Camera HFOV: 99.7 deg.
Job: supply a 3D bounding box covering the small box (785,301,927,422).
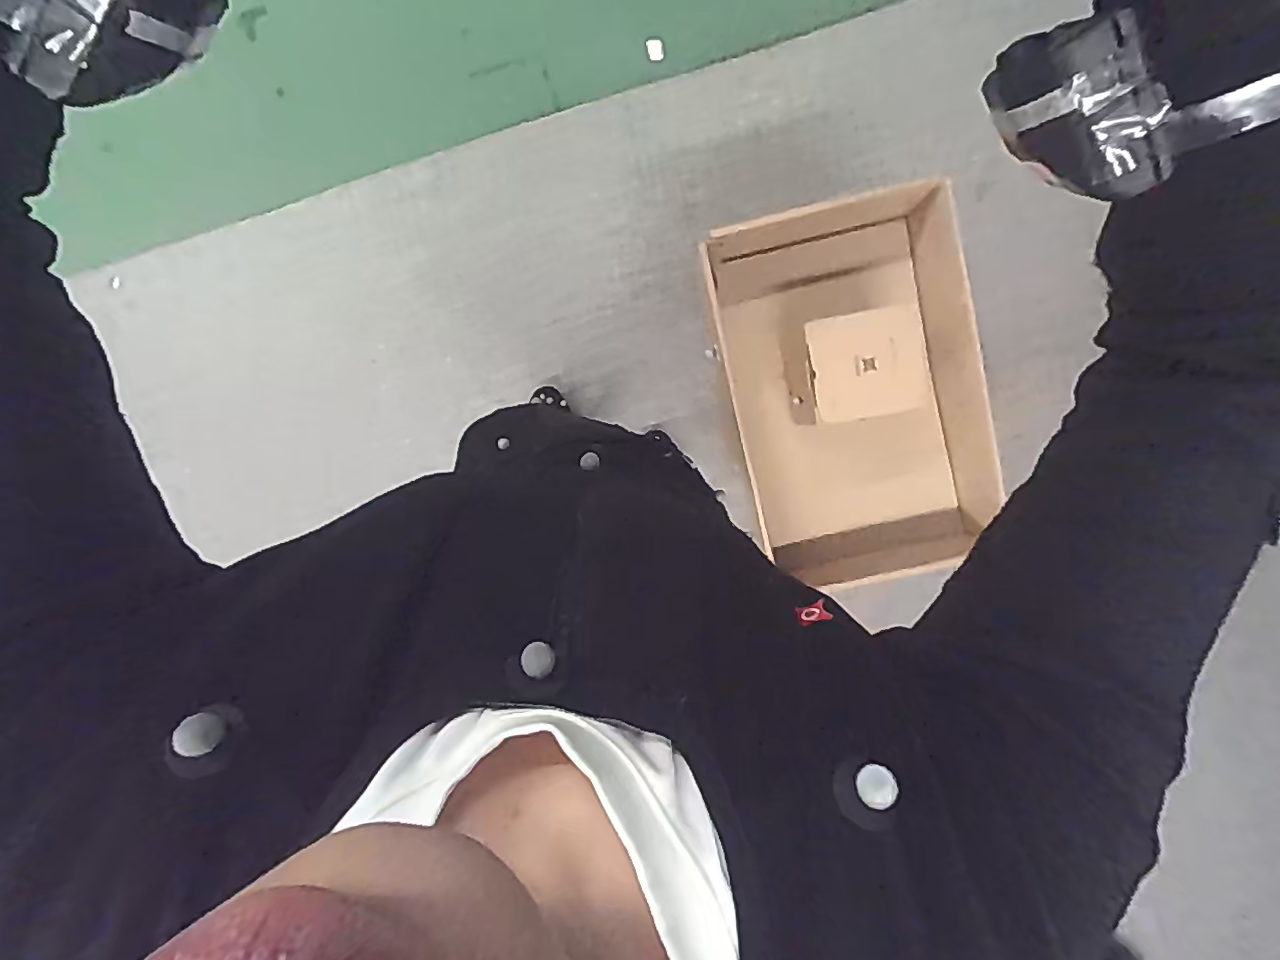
[{"bbox_3d":[0.357,-0.194,0.929,0.179,0.176,0.168,-11,98,2],"label":"small box"}]
